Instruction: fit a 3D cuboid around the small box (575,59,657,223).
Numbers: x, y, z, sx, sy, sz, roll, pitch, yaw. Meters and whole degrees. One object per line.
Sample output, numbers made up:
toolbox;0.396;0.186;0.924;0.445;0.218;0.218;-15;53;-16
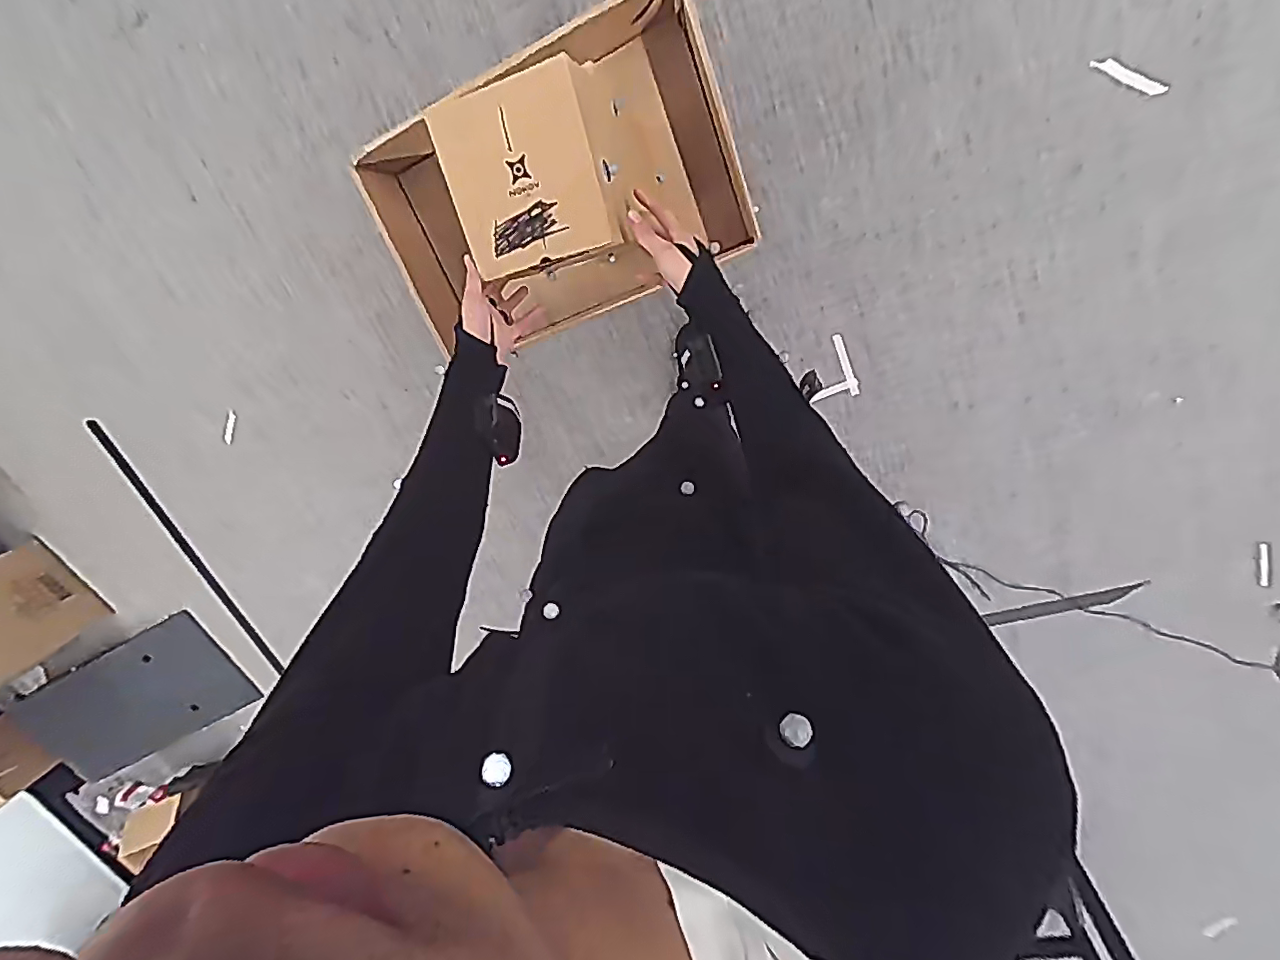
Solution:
small box;-0.087;-0.442;0.769;0.168;0.176;0.179;-14;110;18

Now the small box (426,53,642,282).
small box;-0.106;-0.347;0.632;0.168;0.176;0.179;-9;111;16
